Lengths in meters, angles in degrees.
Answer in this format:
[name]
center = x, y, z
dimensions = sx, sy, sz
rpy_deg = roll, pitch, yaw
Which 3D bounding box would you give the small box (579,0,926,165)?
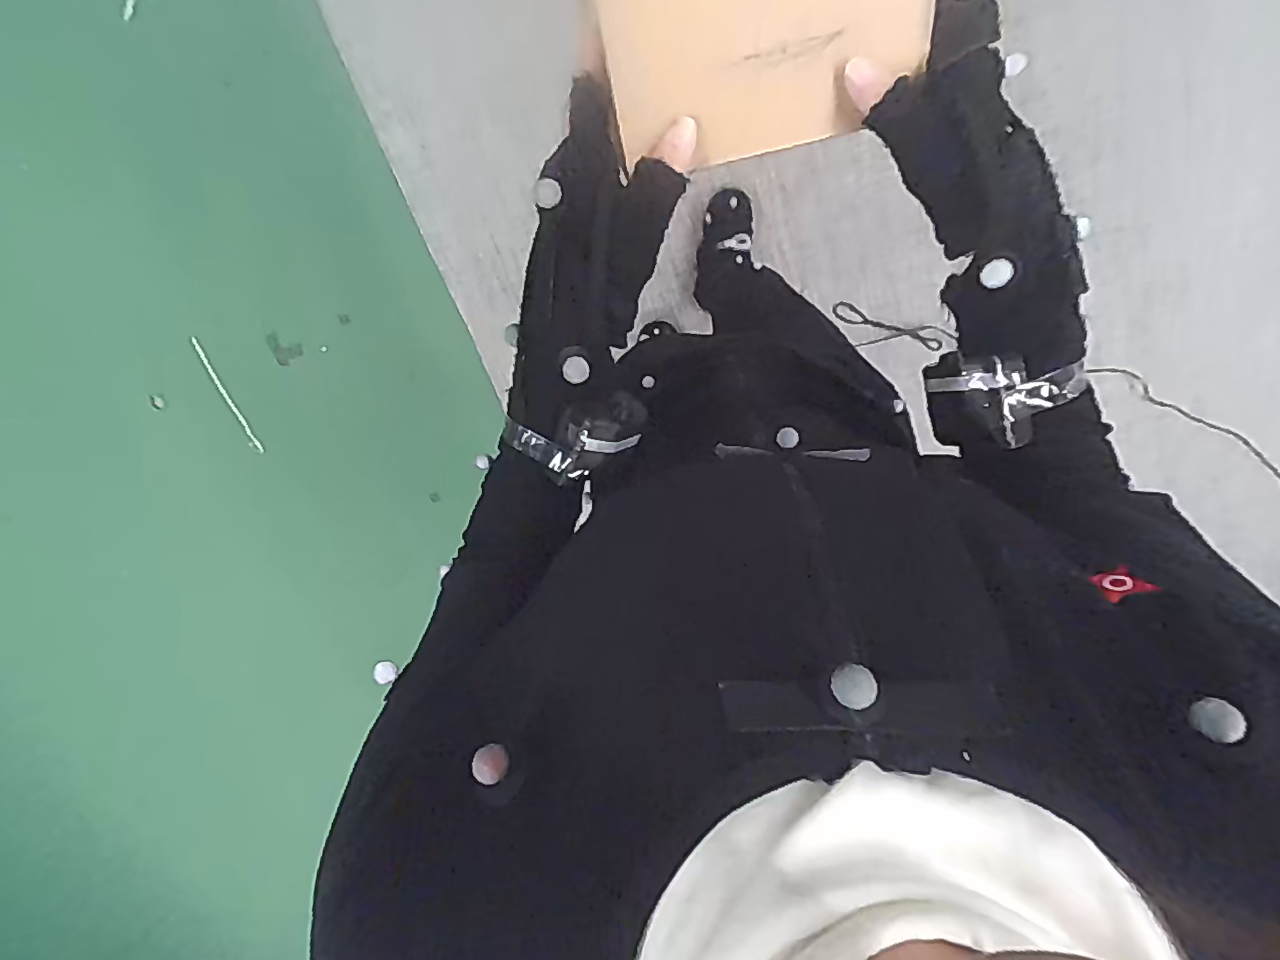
[small box]
center = 0.045, -0.307, 0.306
dimensions = 0.168, 0.176, 0.179
rpy_deg = -13, 131, 2
